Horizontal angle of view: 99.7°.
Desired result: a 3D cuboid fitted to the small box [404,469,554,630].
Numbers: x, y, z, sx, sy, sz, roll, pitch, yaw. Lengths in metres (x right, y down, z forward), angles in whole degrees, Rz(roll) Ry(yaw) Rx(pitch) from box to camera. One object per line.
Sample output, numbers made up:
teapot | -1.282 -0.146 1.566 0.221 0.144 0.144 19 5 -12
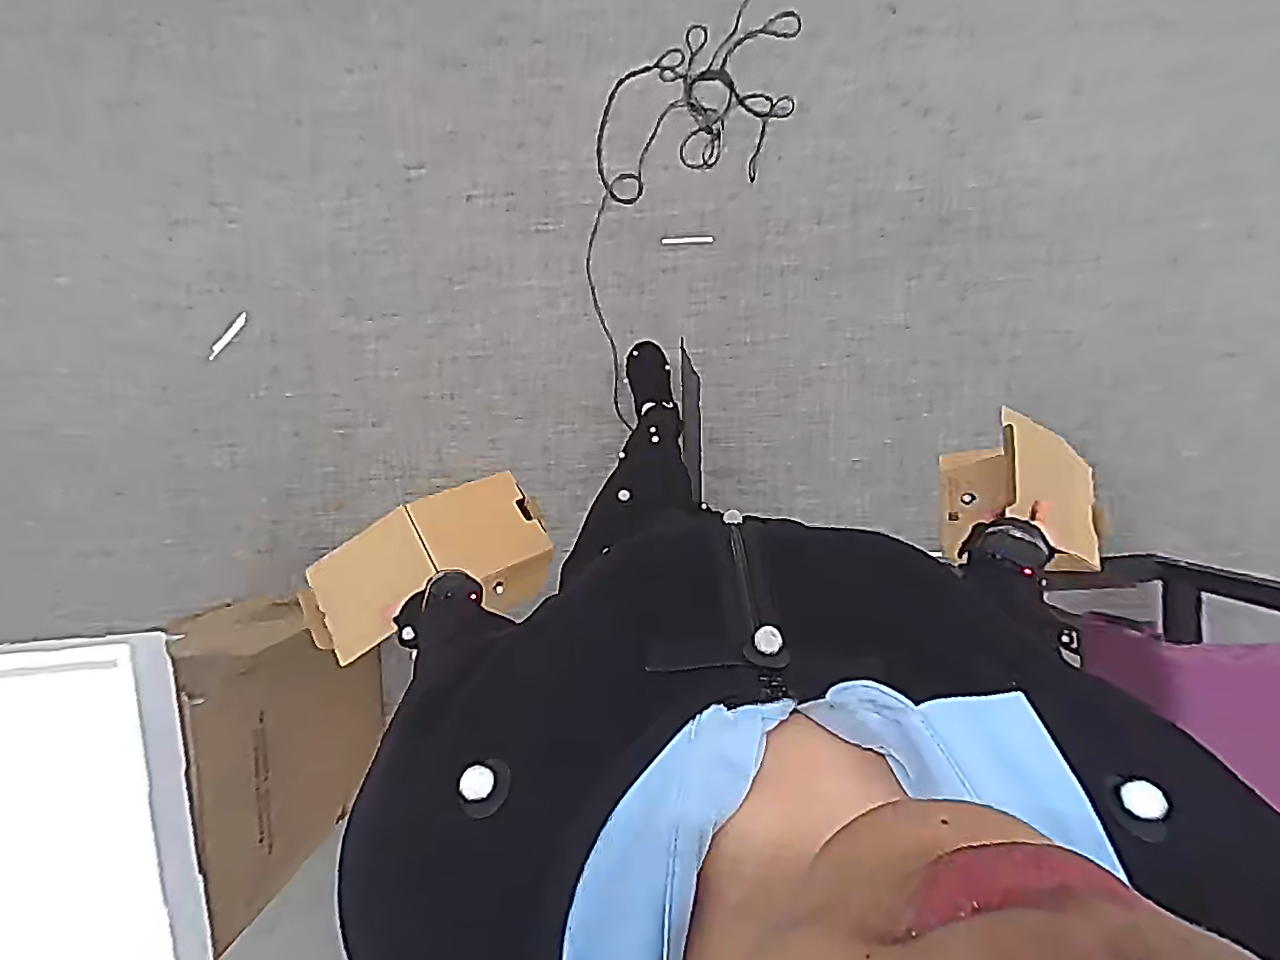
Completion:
small box | -0.262 0.115 0.878 0.179 0.176 0.168 -21 64 -32
